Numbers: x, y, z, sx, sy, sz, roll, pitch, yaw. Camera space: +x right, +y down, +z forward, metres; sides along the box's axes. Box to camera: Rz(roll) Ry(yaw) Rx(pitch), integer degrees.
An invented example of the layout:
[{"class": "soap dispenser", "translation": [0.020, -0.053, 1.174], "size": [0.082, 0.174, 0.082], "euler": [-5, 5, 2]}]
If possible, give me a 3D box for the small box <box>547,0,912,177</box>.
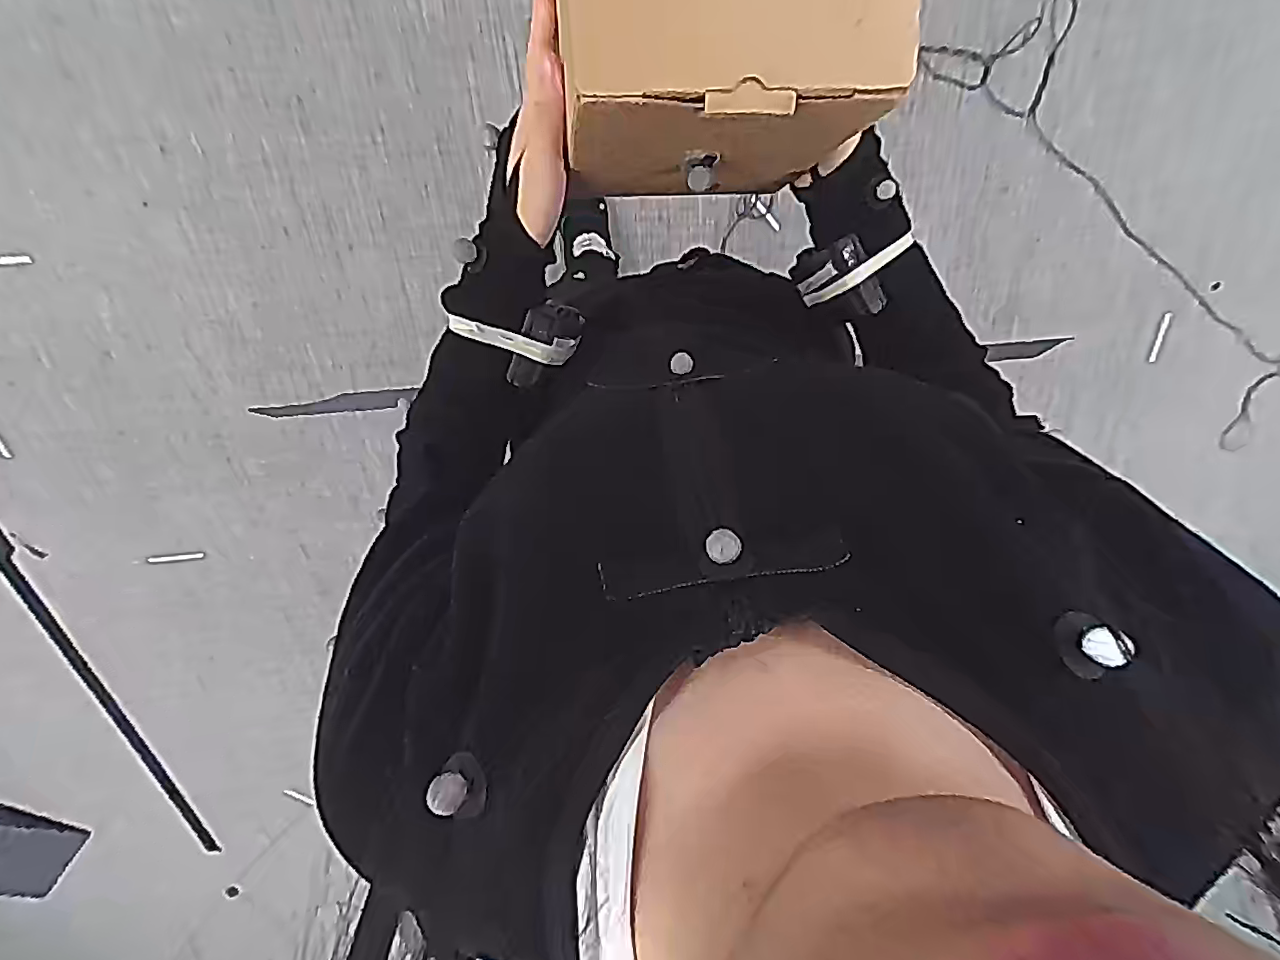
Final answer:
[{"class": "small box", "translation": [0.033, -0.285, 0.307], "size": [0.168, 0.176, 0.179], "euler": [-6, 106, -8]}]
